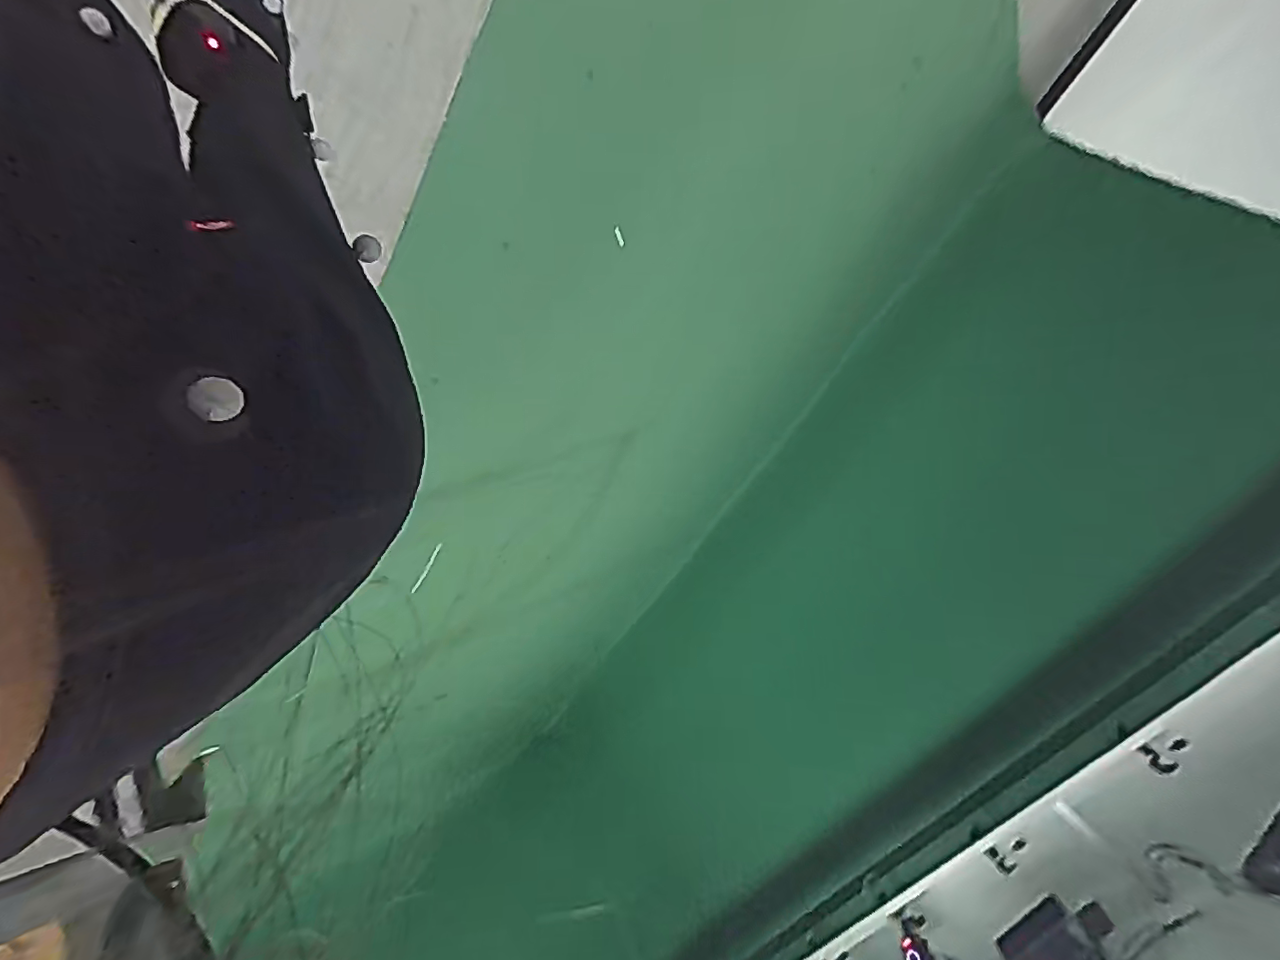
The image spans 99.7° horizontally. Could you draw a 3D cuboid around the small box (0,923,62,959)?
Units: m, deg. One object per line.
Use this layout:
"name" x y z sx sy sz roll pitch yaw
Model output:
"small box" -1.332 1.085 1.127 0.168 0.176 0.179 -2 131 -52
